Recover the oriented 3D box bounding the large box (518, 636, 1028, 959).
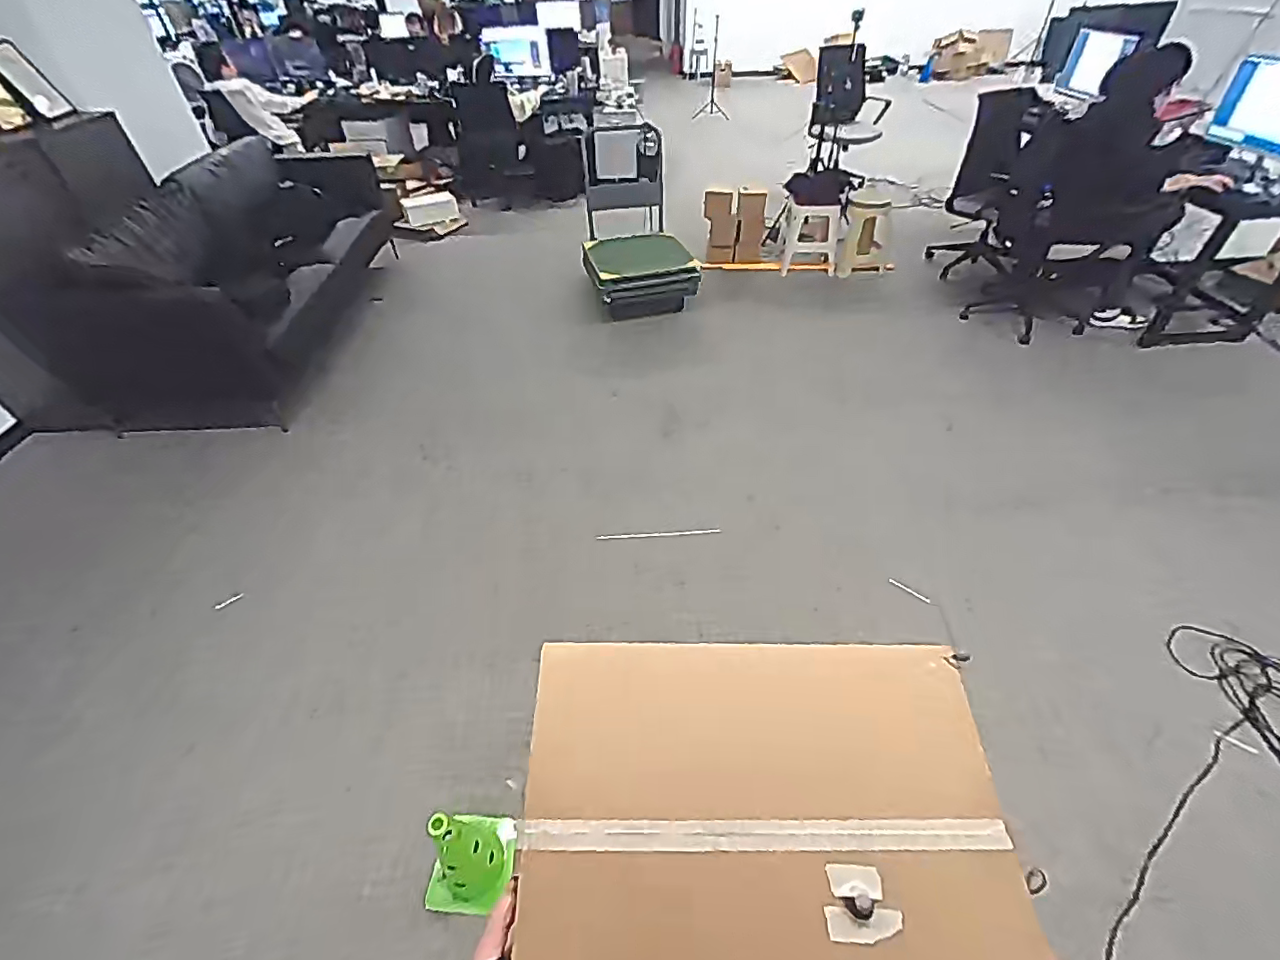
[{"bbox_3d":[0.099,0.370,0.592,0.408,0.320,0.320,0,59,-1],"label":"large box"}]

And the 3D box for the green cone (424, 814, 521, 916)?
[{"bbox_3d":[-0.416,0.832,1.222,0.200,0.368,0.202,2,45,4],"label":"green cone"}]
